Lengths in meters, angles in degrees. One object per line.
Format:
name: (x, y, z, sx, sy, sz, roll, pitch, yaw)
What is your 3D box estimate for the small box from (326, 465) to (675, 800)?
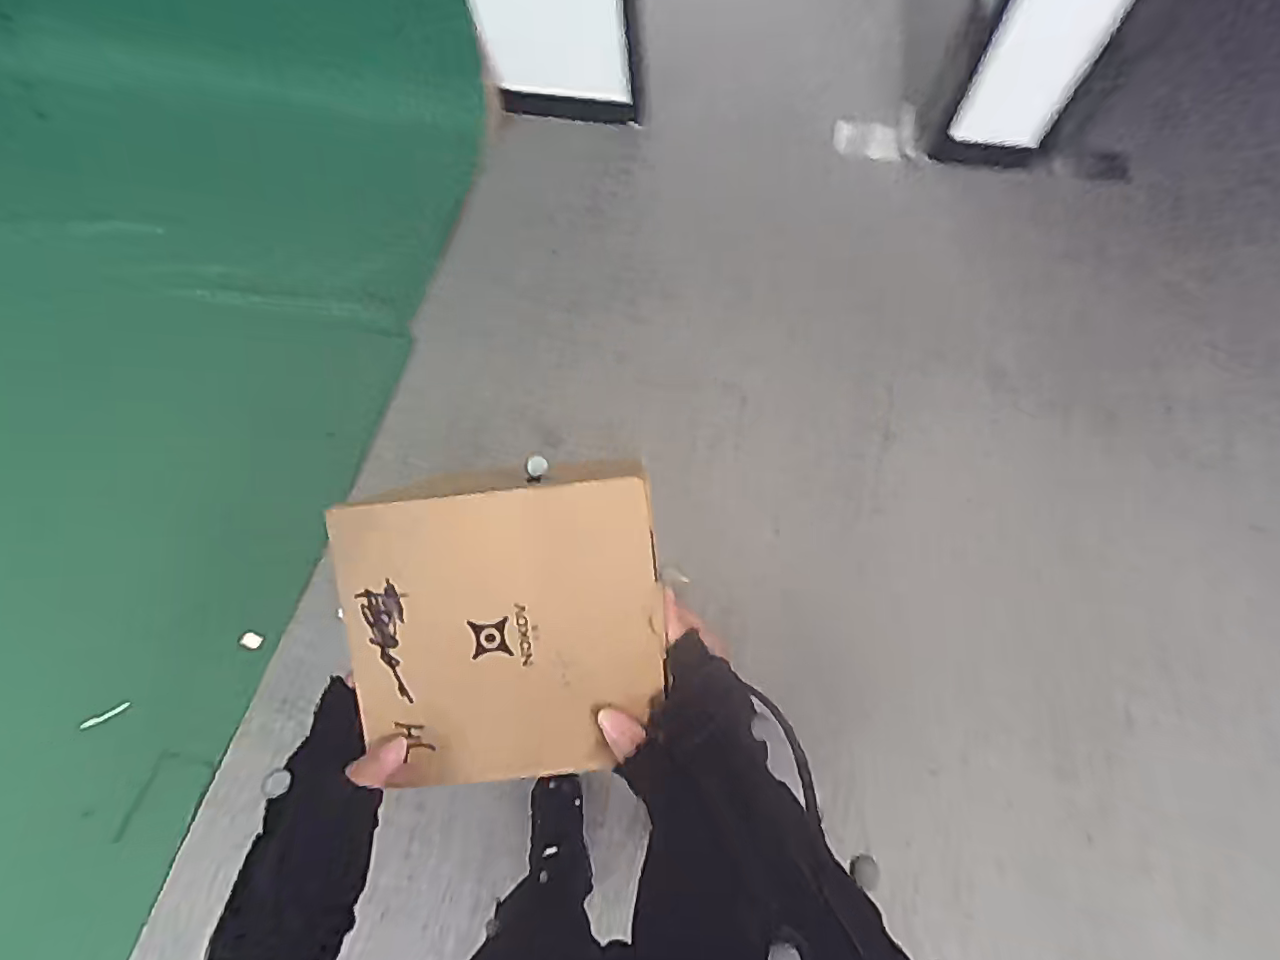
small box: (-0.079, 0.084, 0.383, 0.179, 0.176, 0.168, -8, 96, -1)

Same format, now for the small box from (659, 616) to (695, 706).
small box: (0.018, 0.385, 1.190, 0.179, 0.176, 0.168, 13, 71, 11)
